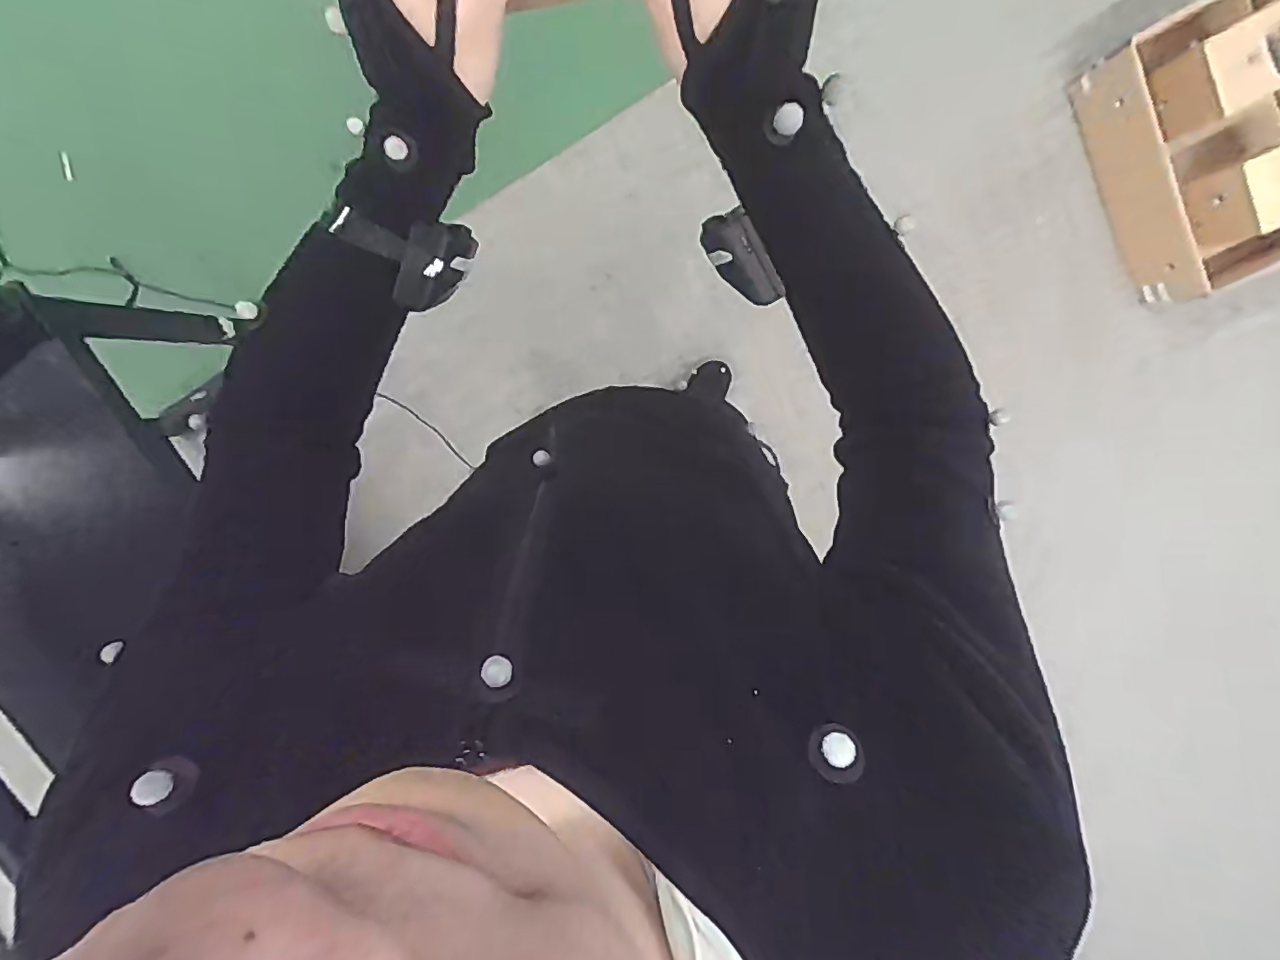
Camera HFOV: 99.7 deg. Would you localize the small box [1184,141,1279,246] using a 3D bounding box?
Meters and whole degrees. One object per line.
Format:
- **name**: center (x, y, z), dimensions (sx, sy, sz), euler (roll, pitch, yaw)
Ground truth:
- **small box**: center (1.449, -0.681, 1.273), dimensions (0.179, 0.176, 0.168), euler (-25, 98, 8)
